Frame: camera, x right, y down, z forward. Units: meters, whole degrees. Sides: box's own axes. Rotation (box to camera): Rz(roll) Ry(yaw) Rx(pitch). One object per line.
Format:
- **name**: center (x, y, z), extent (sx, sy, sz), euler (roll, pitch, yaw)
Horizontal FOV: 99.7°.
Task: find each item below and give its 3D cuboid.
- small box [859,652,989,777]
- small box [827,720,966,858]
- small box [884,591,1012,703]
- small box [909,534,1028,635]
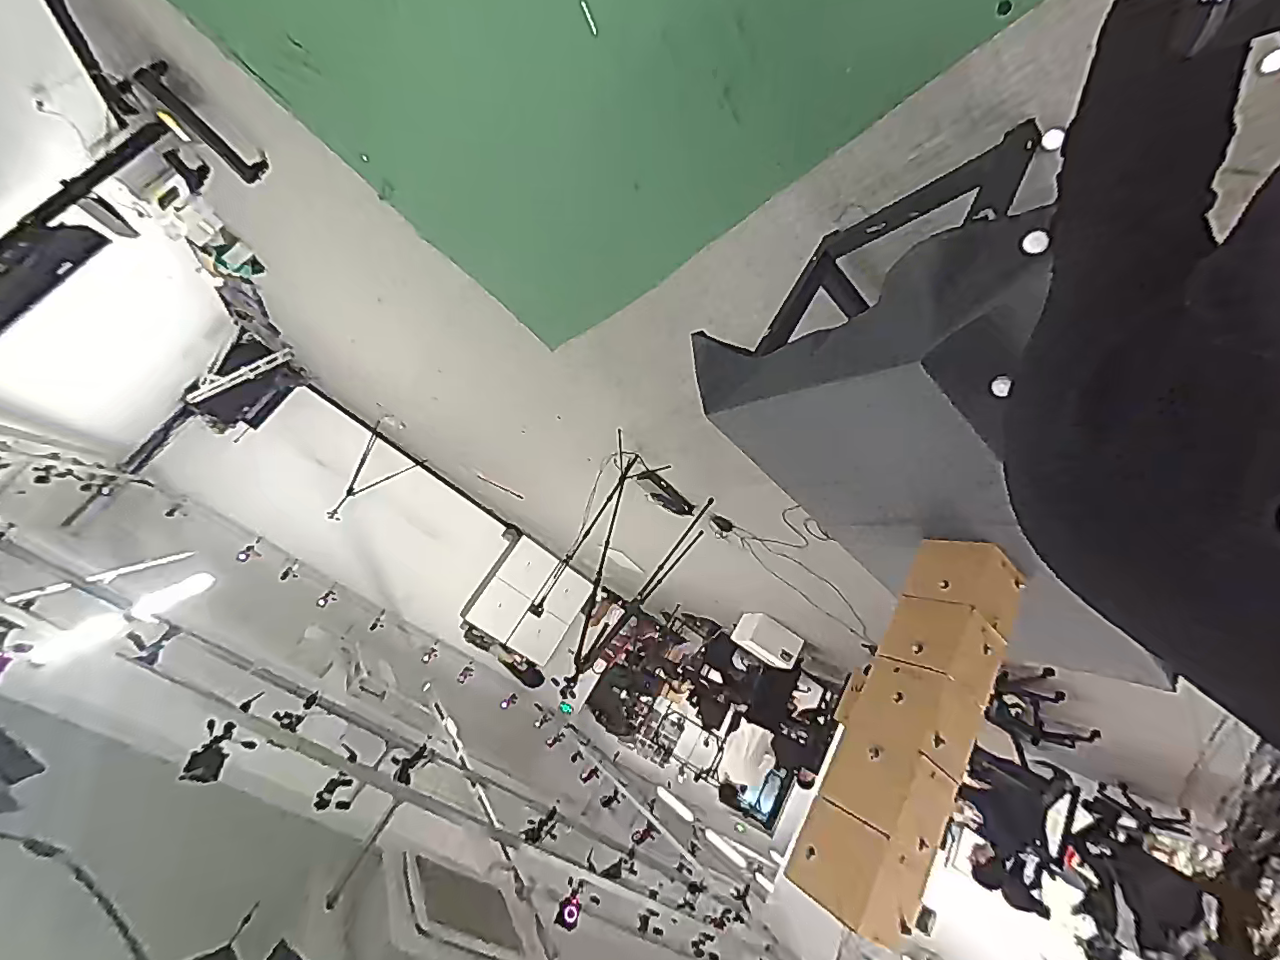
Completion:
- **small box**: center (0.621, 0.501, 1.180), extent (0.179, 0.176, 0.168), euler (41, 160, -22)
- **small box**: center (0.535, 0.629, 1.126), extent (0.168, 0.176, 0.179), euler (41, 159, -23)
- **small box**: center (0.705, 0.371, 1.236), extent (0.168, 0.176, 0.179), euler (40, 160, -21)
- **small box**: center (0.788, 0.242, 1.289), extent (0.168, 0.176, 0.179), euler (40, 161, -20)
